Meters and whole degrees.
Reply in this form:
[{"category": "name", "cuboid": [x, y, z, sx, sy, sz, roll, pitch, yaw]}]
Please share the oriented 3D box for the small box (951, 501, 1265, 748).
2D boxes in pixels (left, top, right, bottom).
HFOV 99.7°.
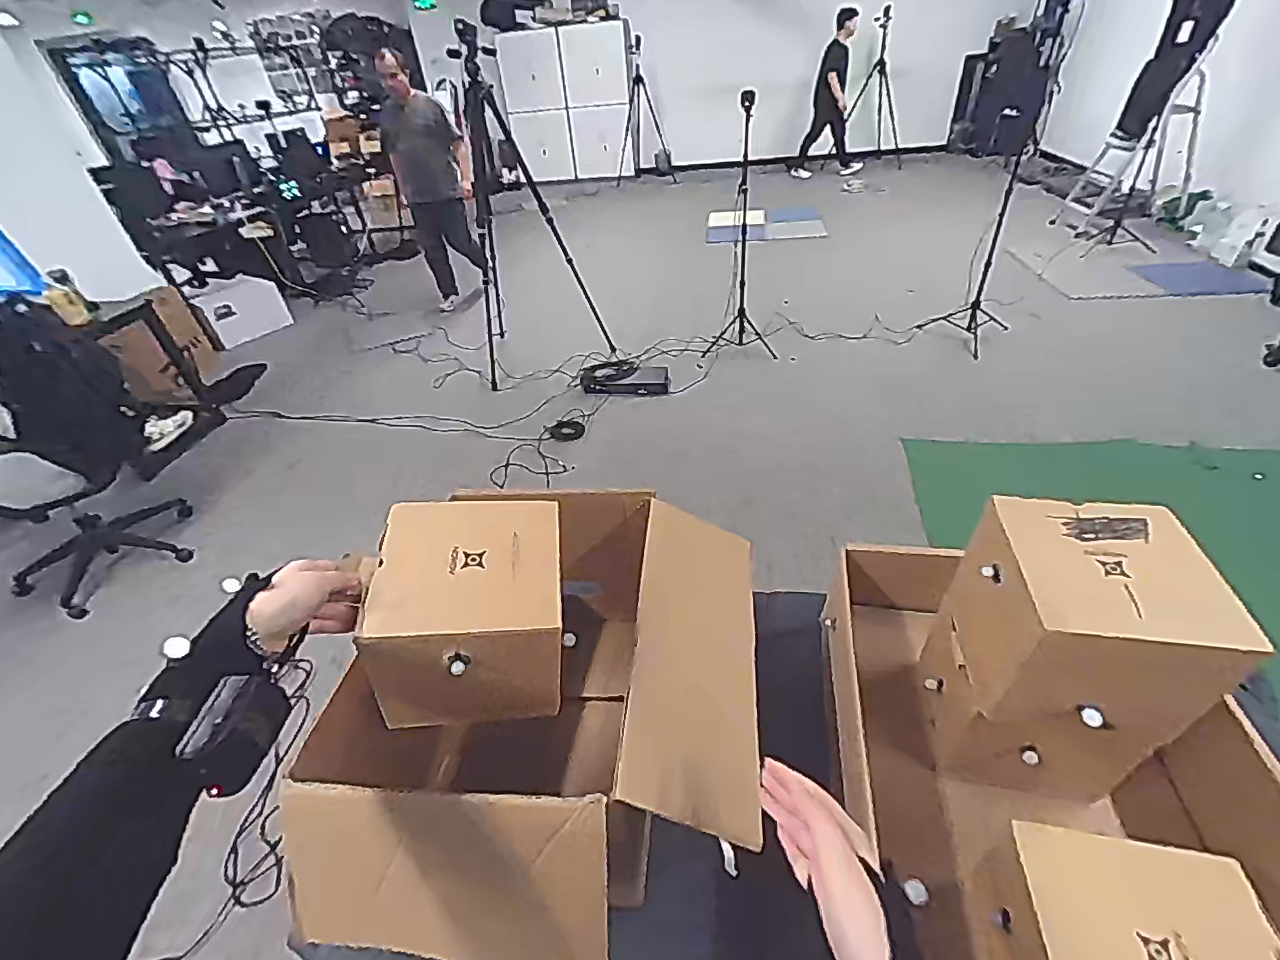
[{"category": "small box", "cuboid": [0.449, 0.145, 0.565, 0.168, 0.176, 0.179, 3, 41, 13]}]
